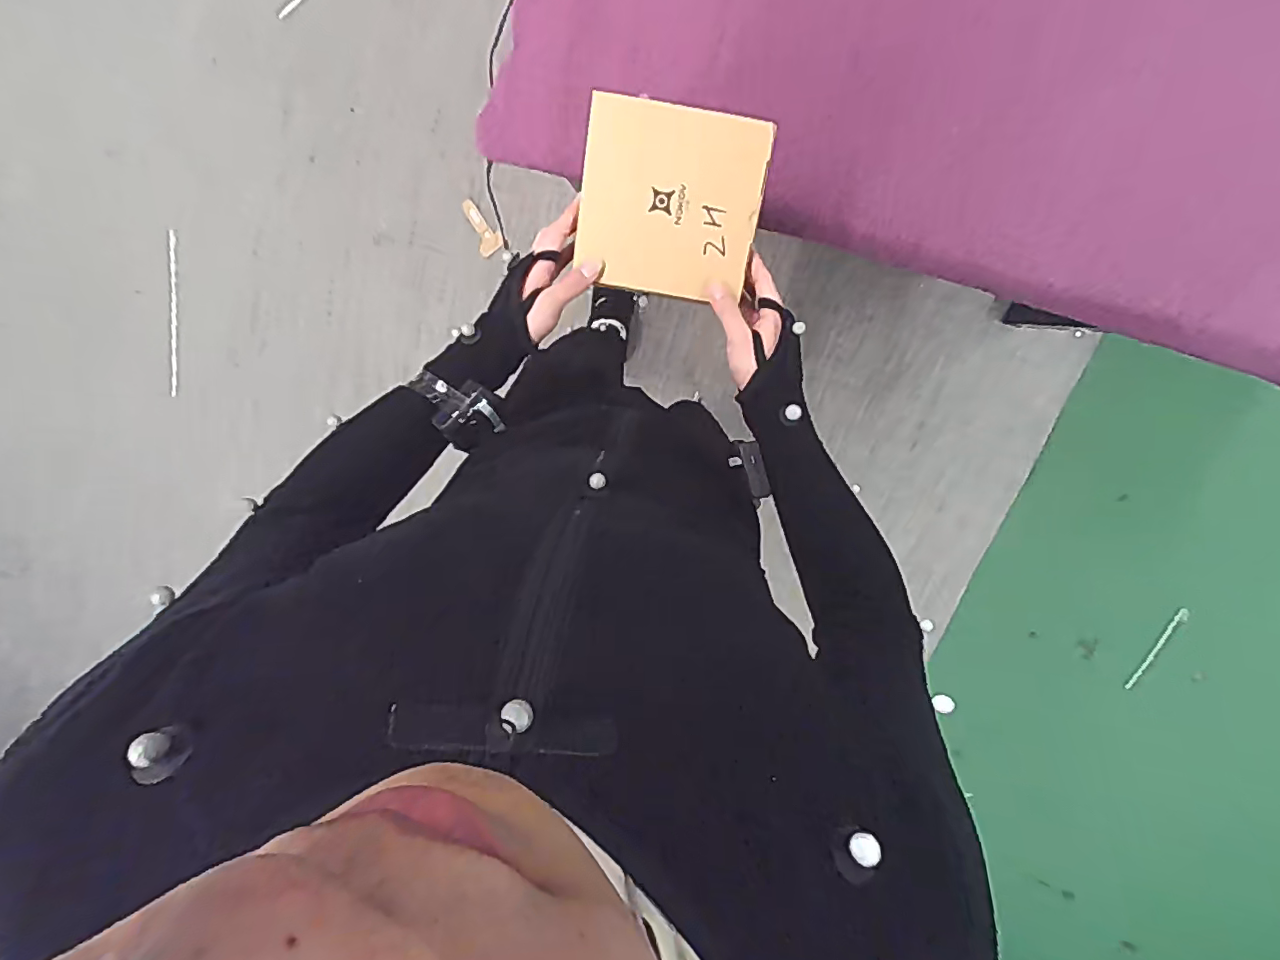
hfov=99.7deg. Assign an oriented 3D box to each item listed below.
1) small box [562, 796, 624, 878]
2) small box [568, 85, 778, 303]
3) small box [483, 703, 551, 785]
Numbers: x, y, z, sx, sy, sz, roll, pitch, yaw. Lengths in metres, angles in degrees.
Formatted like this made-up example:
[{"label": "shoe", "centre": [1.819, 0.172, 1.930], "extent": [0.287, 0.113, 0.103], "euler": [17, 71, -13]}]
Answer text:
[{"label": "small box", "centre": [-0.166, 1.288, 1.964], "extent": [0.179, 0.176, 0.168], "euler": [16, 109, -3]}, {"label": "small box", "centre": [0.029, -0.292, 0.592], "extent": [0.179, 0.176, 0.168], "euler": [10, 108, -2]}, {"label": "small box", "centre": [-0.417, 0.900, 1.855], "extent": [0.179, 0.176, 0.168], "euler": [15, 108, -1]}]
